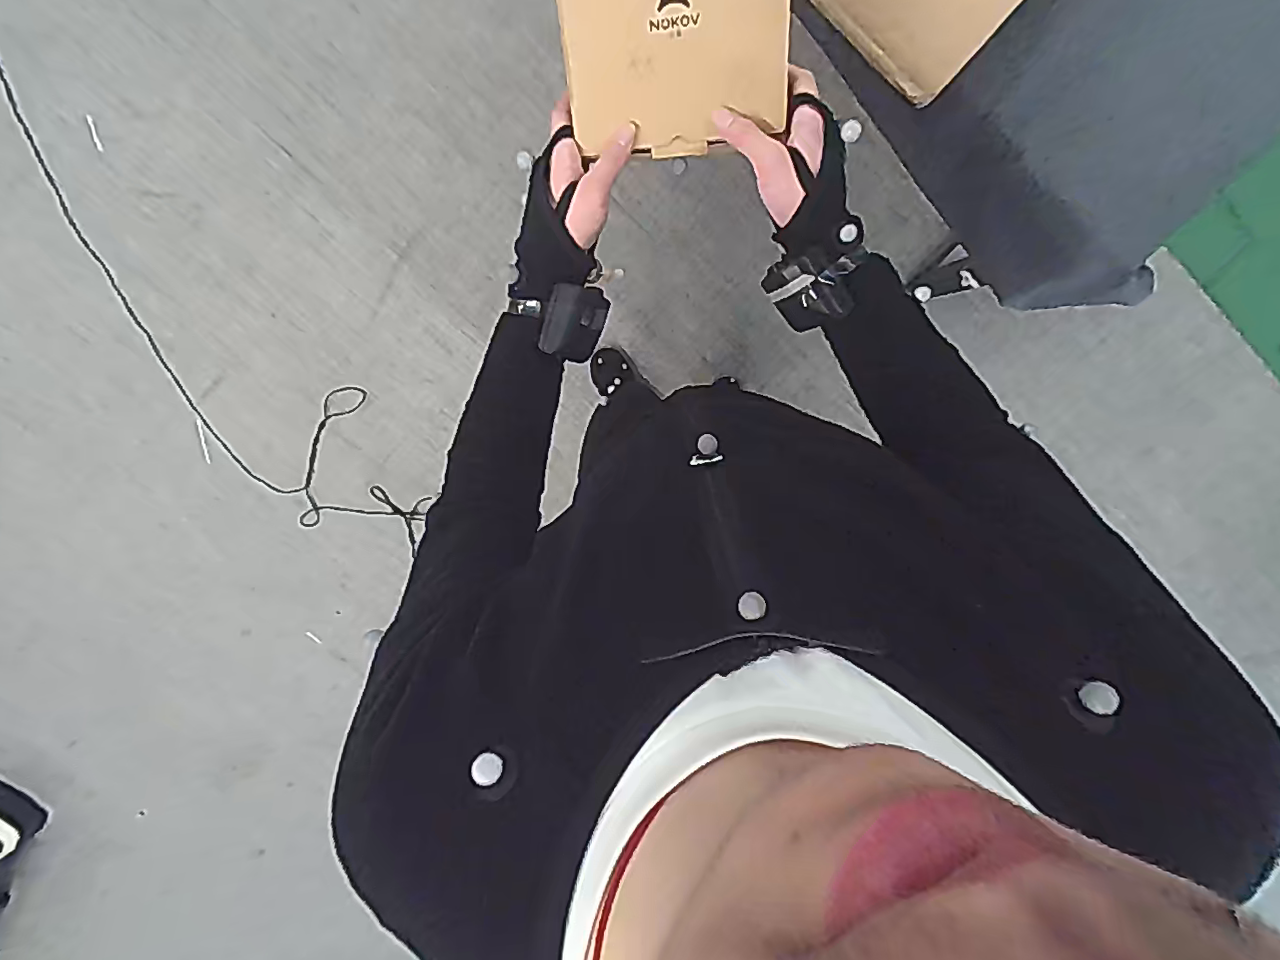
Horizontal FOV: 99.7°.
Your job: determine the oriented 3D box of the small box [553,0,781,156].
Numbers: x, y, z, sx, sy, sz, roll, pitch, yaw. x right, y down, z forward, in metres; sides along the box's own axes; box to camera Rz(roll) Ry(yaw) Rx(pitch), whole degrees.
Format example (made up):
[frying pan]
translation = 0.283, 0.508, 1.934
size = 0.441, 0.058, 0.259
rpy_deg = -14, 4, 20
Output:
[small box]
translation = 0.026, -0.385, 0.457
size = 0.168, 0.176, 0.179
rpy_deg = -5, 118, 7
